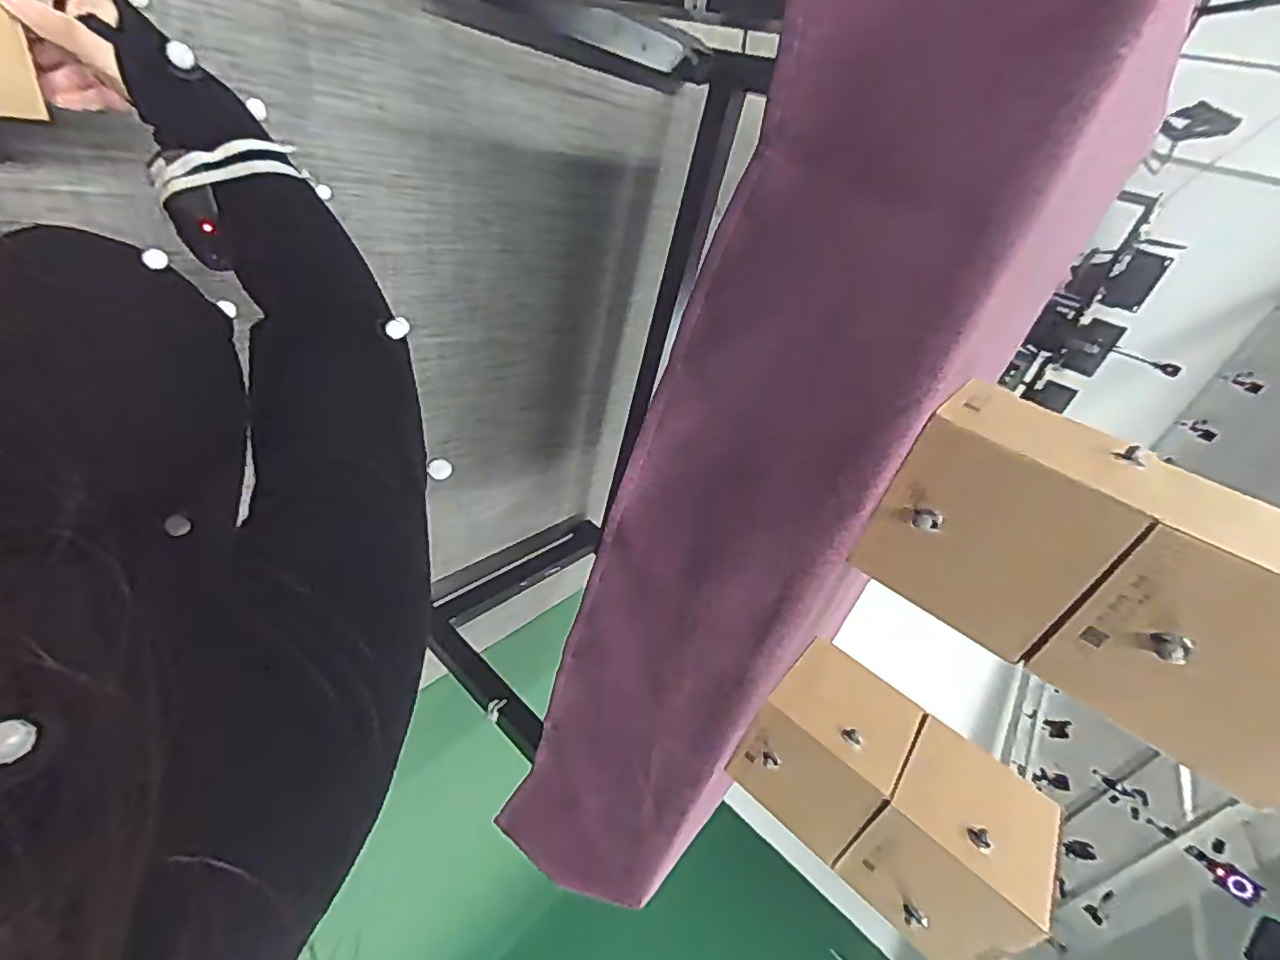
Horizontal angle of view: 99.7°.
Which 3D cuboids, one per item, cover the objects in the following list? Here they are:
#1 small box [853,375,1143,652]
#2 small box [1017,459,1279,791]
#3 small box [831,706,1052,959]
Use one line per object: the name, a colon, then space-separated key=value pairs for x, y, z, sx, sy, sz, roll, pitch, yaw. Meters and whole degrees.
small box: x=0.333 y=0.021 z=0.528 sx=0.168 sy=0.176 sz=0.179 roll=-28 pitch=143 yaw=-45
small box: x=0.460 y=0.103 z=0.458 sx=0.179 sy=0.176 sz=0.168 roll=-25 pitch=140 yaw=-45
small box: x=0.368 y=0.429 z=0.675 sx=0.179 sy=0.176 sz=0.168 roll=-25 pitch=141 yaw=-46
